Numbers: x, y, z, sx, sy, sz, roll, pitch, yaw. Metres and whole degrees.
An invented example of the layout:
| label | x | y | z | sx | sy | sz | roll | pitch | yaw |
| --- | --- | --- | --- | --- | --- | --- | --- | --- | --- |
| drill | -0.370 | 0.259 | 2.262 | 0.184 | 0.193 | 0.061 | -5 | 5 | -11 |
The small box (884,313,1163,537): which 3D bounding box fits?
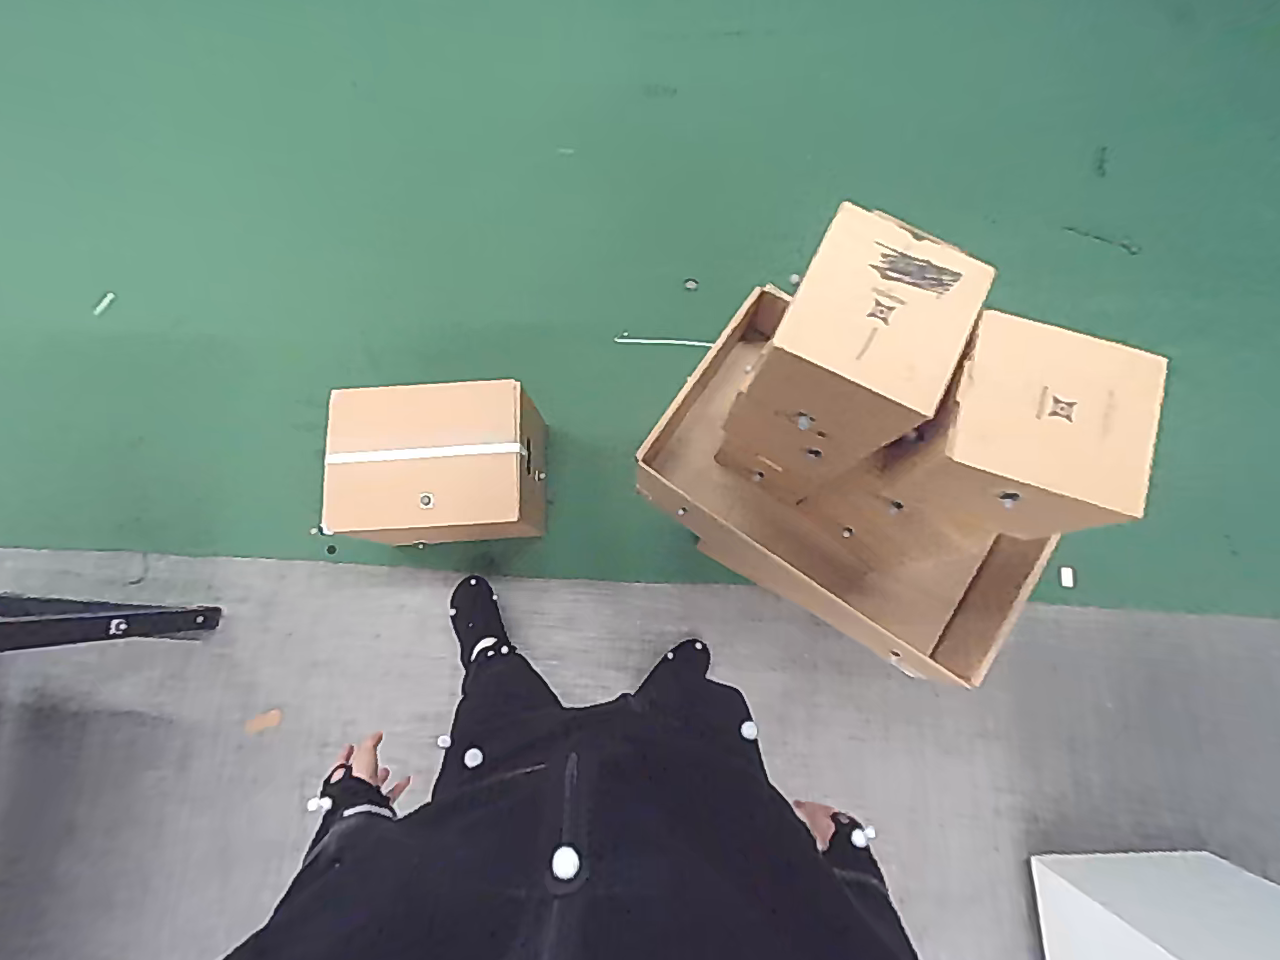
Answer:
| label | x | y | z | sx | sy | sz | roll | pitch | yaw |
| --- | --- | --- | --- | --- | --- | --- | --- | --- | --- |
| small box | 0.395 | -0.047 | 0.589 | 0.179 | 0.176 | 0.168 | 20 | 78 | 7 |
